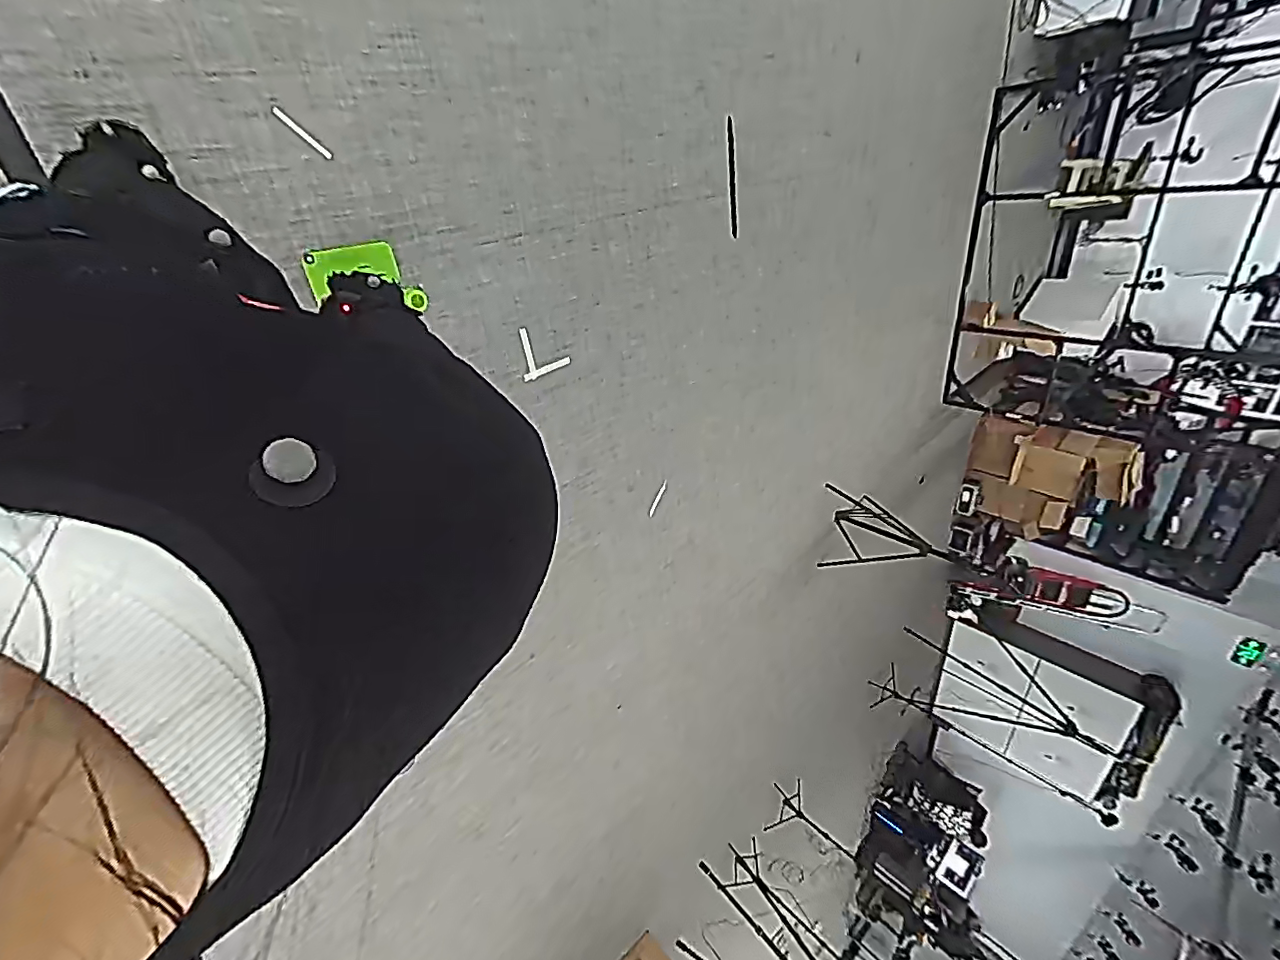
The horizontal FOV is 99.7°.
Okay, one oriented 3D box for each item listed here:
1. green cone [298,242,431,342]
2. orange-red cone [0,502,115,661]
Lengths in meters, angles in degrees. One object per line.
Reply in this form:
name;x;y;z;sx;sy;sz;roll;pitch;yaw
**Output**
green cone;-0.545;-0.389;1.153;0.202;0.368;0.200;-30;127;-34
orange-red cone;-1.052;0.202;0.914;0.199;0.360;0.198;-24;122;-35
